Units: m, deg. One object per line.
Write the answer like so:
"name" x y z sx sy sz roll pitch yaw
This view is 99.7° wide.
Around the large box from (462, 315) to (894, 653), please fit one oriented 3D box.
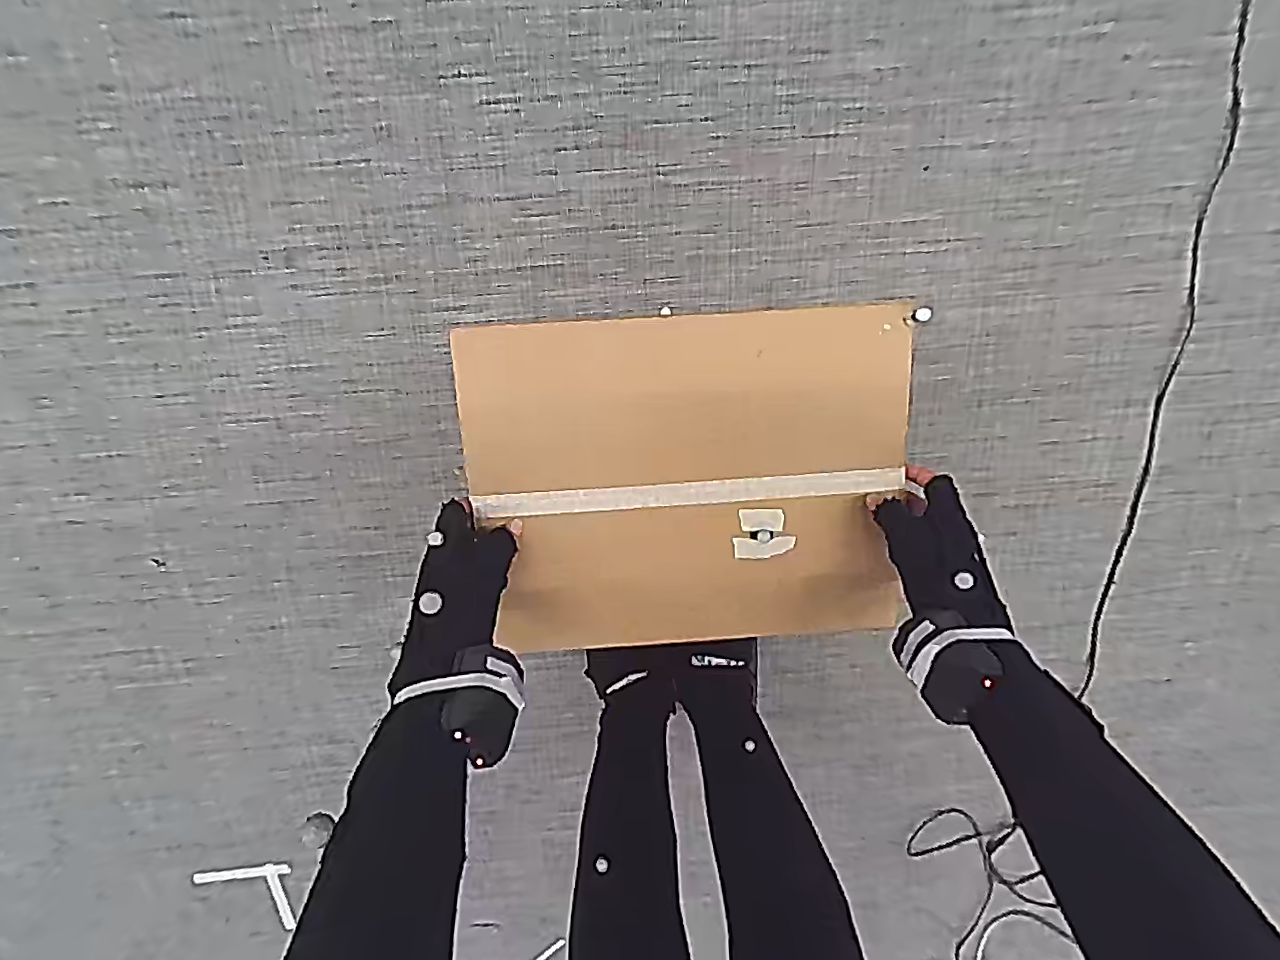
"large box" 0.038 -0.021 0.669 0.408 0.320 0.320 -4 104 -2
